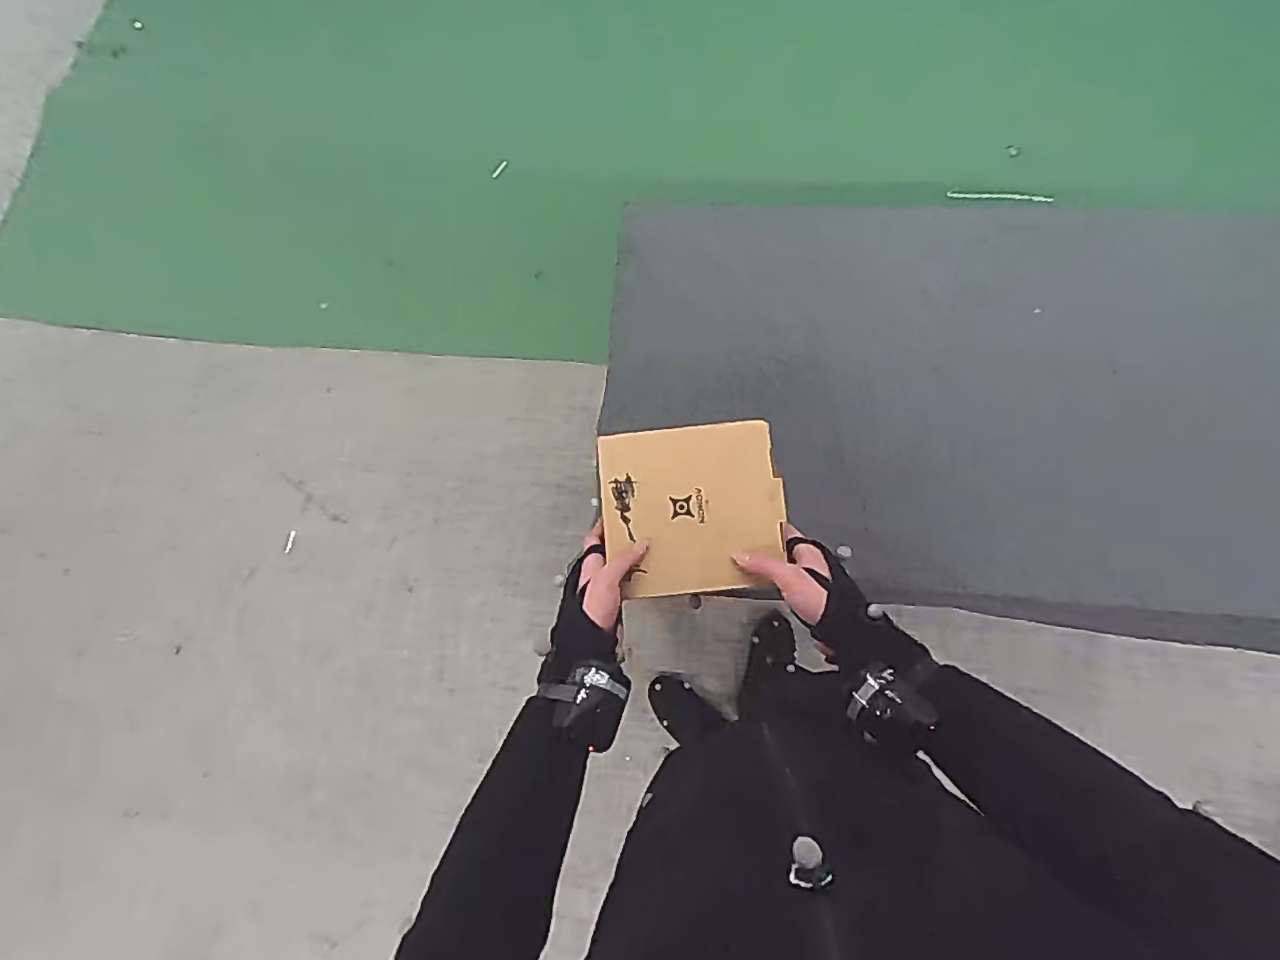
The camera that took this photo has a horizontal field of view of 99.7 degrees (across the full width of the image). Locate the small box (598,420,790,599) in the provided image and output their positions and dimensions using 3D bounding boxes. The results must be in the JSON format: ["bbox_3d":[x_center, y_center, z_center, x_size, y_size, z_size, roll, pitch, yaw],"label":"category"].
[{"bbox_3d":[0.052,0.042,0.603,0.179,0.176,0.168,-5,77,2],"label":"small box"}]
